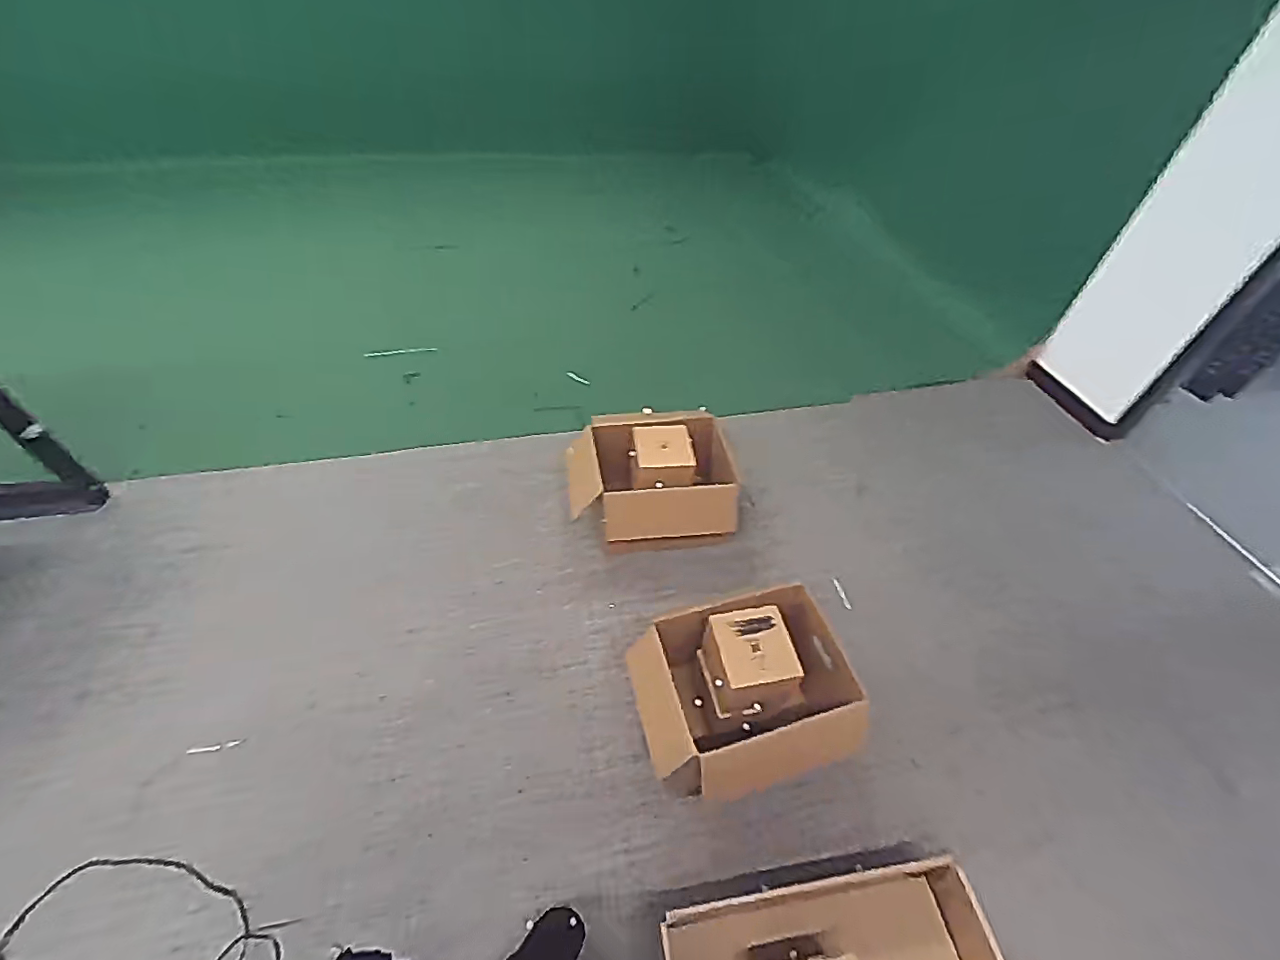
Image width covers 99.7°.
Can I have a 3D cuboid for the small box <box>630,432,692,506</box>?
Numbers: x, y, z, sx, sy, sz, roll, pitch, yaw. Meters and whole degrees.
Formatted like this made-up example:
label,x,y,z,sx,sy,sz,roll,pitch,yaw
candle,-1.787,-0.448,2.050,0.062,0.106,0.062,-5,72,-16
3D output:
label,x,y,z,sx,sy,sz,roll,pitch,yaw
small box,0.061,-0.030,1.700,0.168,0.176,0.179,-3,48,-8
